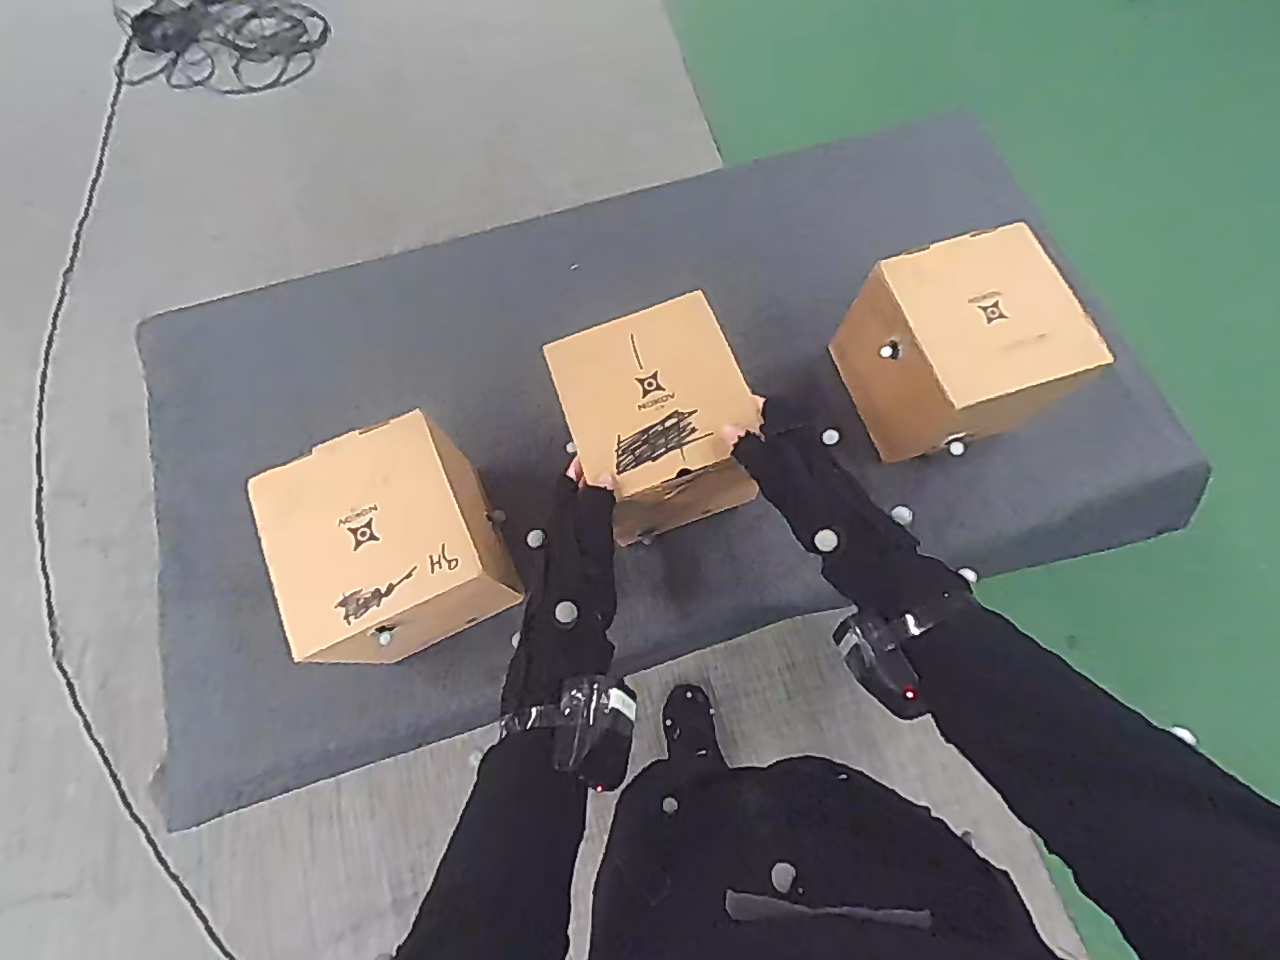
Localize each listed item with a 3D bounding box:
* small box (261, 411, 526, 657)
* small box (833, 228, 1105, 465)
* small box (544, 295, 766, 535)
[{"bbox_3d":[-0.236,0.065,0.551,0.168,0.176,0.179,-25,71,-6],"label":"small box"},{"bbox_3d":[0.345,-0.140,0.611,0.168,0.176,0.179,-17,73,-3],"label":"small box"},{"bbox_3d":[0.019,-0.052,0.570,0.168,0.176,0.179,-20,70,0],"label":"small box"}]
